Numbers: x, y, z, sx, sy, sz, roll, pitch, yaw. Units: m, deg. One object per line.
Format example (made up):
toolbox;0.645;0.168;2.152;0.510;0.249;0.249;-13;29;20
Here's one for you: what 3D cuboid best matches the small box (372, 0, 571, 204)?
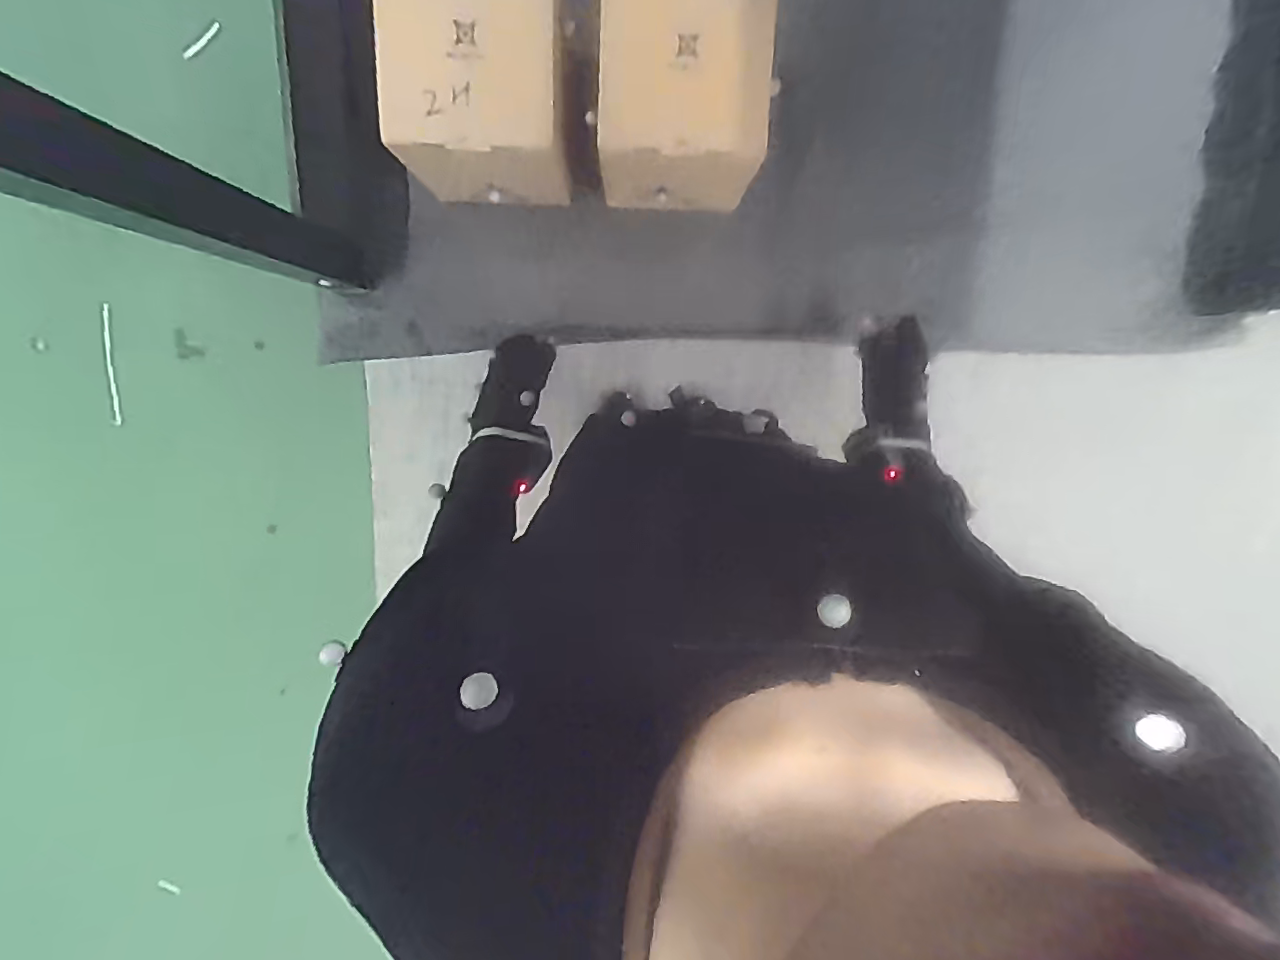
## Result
small box;-0.166;-0.420;0.578;0.168;0.176;0.179;2;100;-1
